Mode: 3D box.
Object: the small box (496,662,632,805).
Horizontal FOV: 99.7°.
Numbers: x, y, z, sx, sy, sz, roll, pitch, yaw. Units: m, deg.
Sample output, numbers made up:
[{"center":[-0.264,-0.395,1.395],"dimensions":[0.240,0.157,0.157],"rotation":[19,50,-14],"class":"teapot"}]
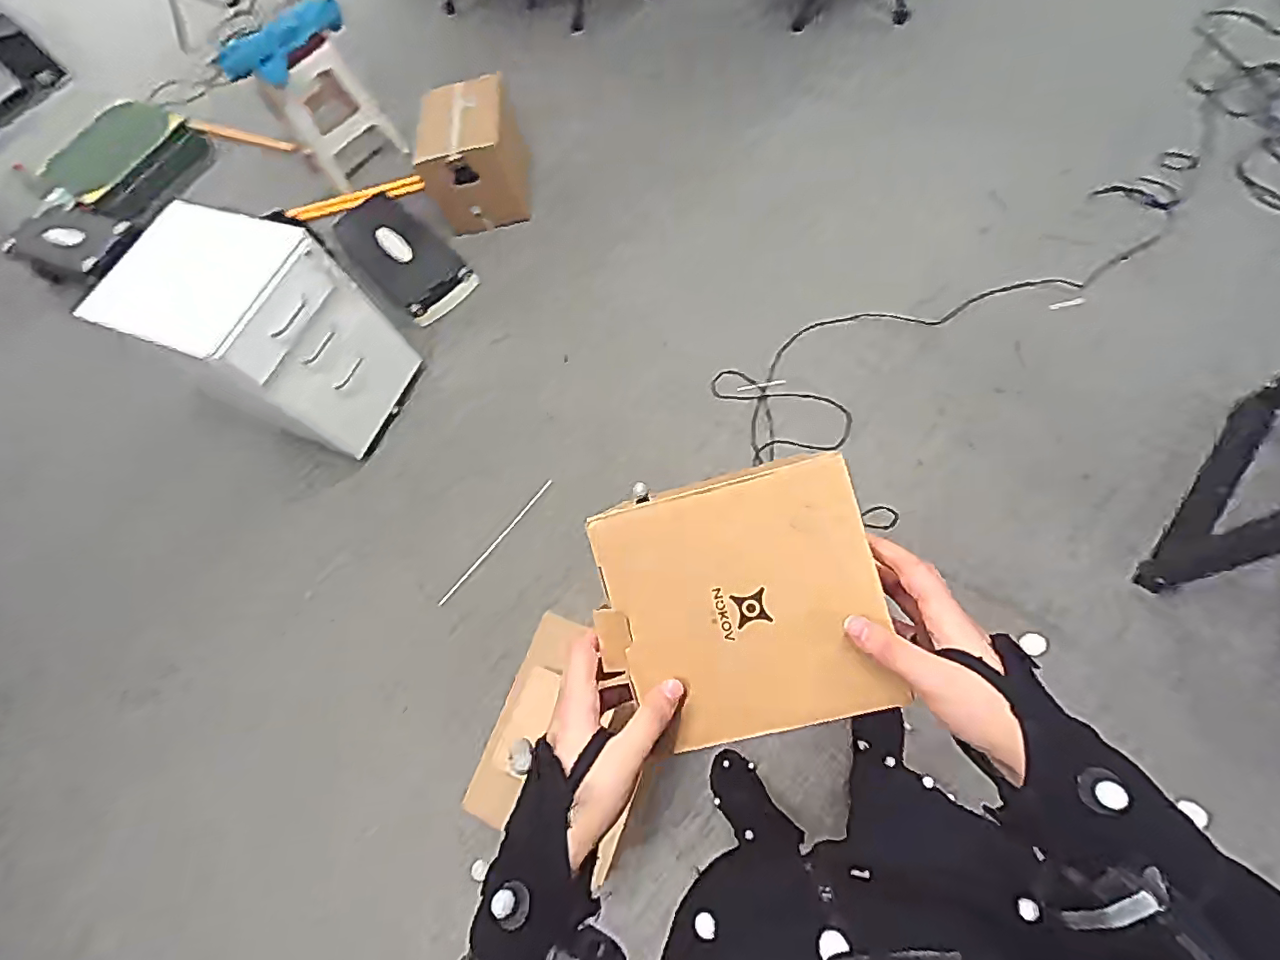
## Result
[{"center":[-0.126,0.454,0.988],"dimensions":[0.168,0.176,0.179],"rotation":[18,72,17],"class":"small box"}]
